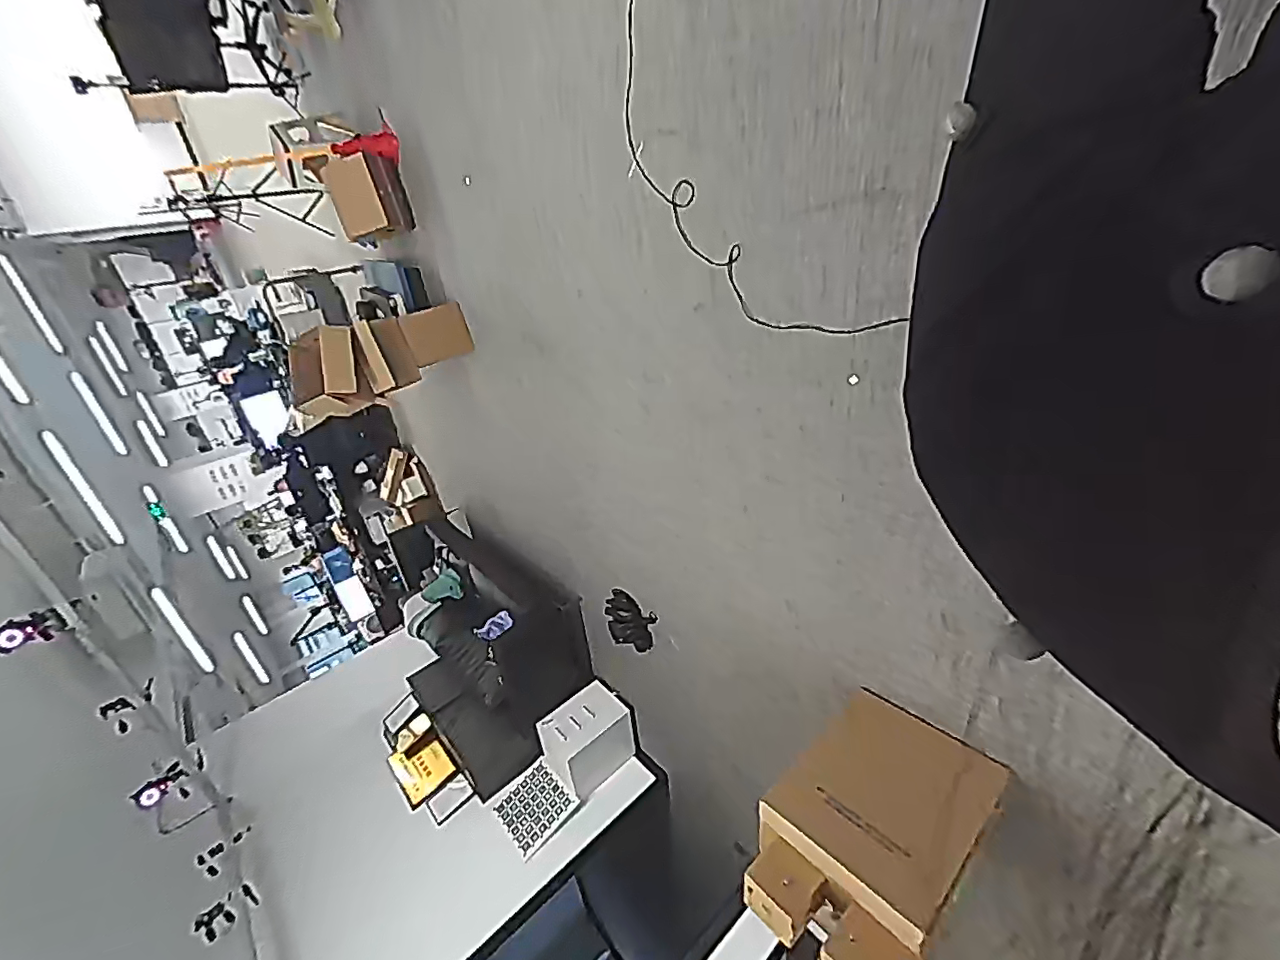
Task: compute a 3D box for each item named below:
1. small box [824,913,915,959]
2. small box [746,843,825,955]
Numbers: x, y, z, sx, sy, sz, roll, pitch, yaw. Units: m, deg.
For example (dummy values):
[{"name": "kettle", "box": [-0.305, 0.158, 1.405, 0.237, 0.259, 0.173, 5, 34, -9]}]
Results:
[{"name": "small box", "box": [0.620, 1.339, 1.473, 0.179, 0.176, 0.168, 19, 125, 45]}, {"name": "small box", "box": [0.445, 1.273, 1.657, 0.179, 0.176, 0.168, 23, 126, 44]}]
